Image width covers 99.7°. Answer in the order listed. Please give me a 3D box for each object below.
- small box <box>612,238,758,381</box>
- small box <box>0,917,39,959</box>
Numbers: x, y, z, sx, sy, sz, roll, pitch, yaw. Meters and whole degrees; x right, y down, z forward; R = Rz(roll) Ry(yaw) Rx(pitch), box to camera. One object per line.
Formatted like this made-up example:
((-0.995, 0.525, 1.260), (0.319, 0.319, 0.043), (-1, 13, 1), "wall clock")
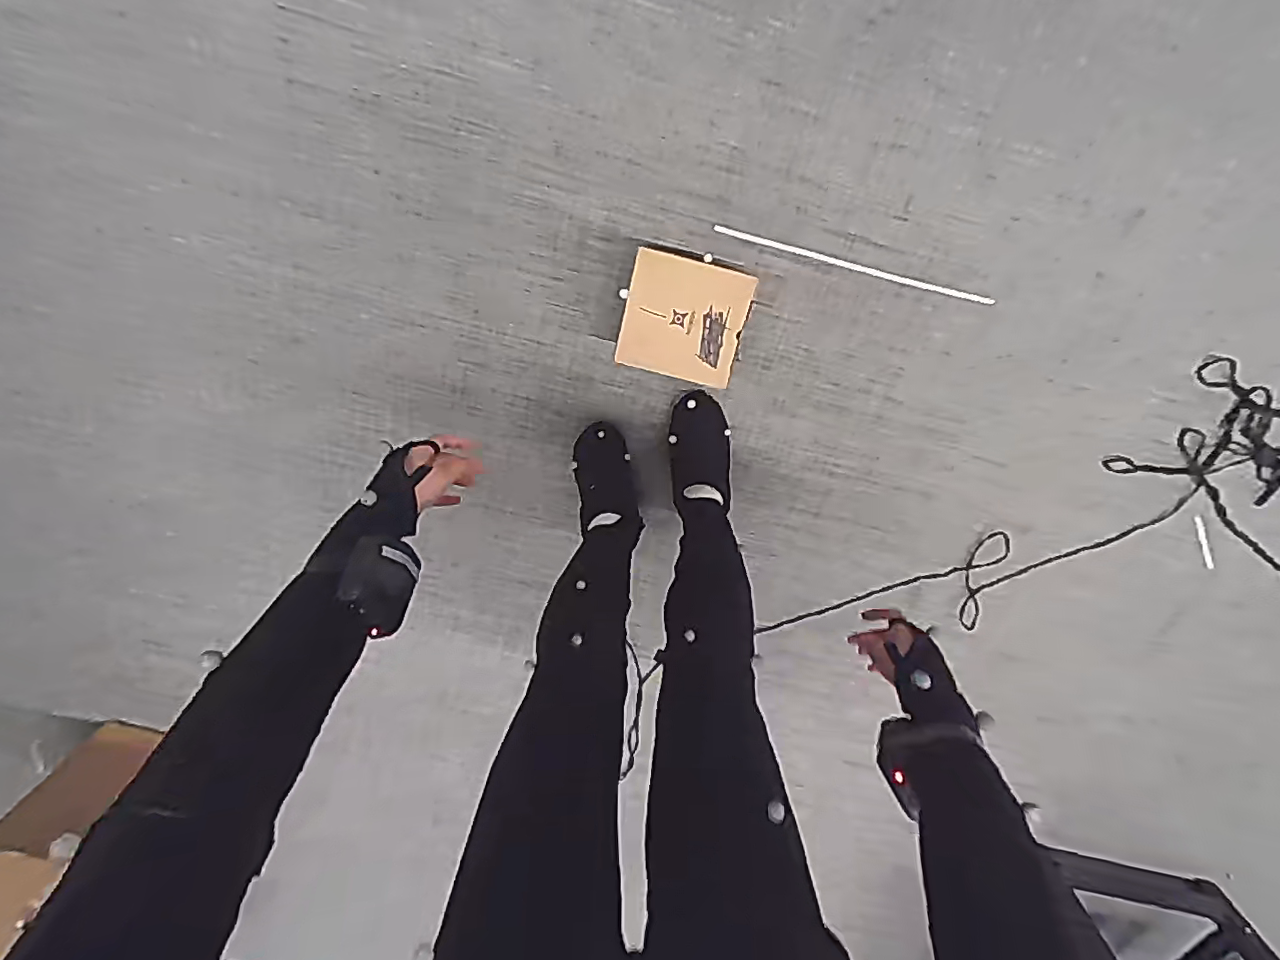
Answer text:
((0.064, -0.271, 0.842), (0.179, 0.176, 0.168), (14, 113, -3), "small box")
((-1.221, 0.877, 0.933), (0.179, 0.176, 0.168), (17, 115, -5), "small box")
